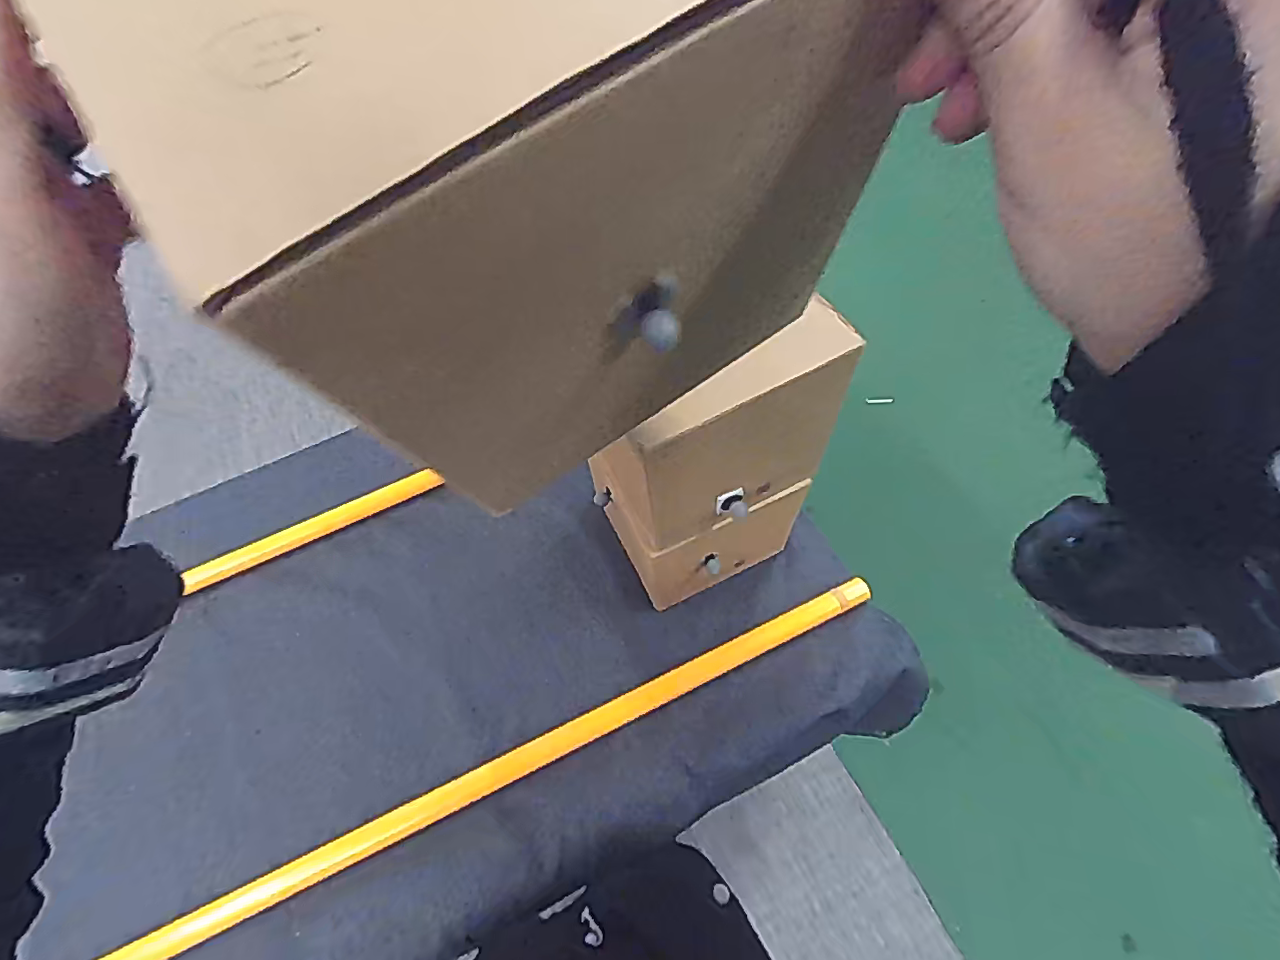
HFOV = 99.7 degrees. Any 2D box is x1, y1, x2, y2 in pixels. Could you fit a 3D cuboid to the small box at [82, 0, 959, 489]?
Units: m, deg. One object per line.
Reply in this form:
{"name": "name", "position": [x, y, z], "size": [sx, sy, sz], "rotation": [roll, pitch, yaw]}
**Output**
{"name": "small box", "position": [-0.036, -0.122, 0.192], "size": [0.179, 0.176, 0.168], "rotation": [-35, 76, -7]}

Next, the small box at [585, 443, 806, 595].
{"name": "small box", "position": [0.050, 0.006, 0.584], "size": [0.168, 0.176, 0.179], "rotation": [-25, 61, -9]}

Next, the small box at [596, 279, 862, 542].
{"name": "small box", "position": [0.041, -0.079, 0.446], "size": [0.168, 0.176, 0.179], "rotation": [-27, 62, -9]}
